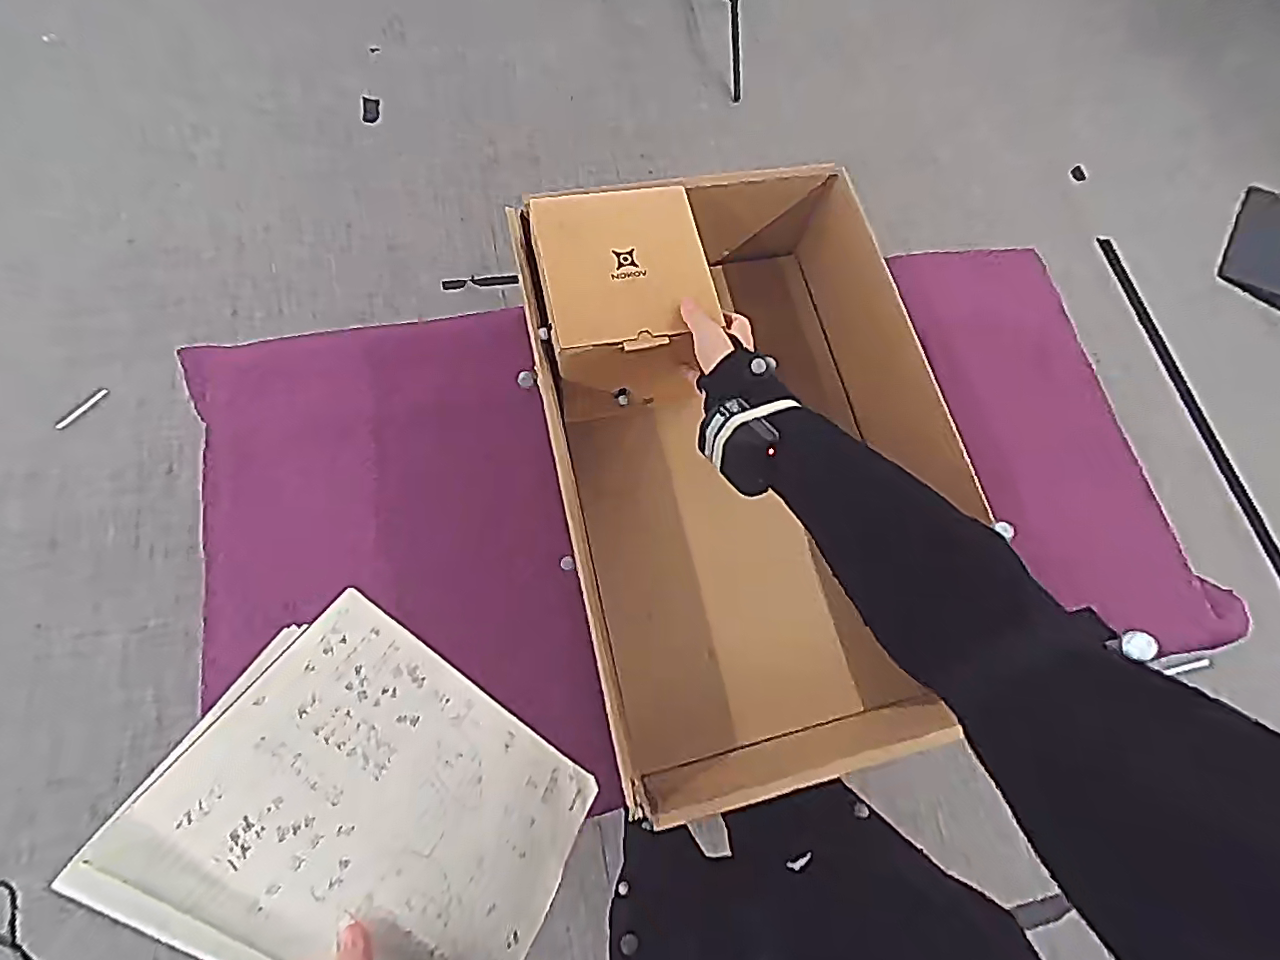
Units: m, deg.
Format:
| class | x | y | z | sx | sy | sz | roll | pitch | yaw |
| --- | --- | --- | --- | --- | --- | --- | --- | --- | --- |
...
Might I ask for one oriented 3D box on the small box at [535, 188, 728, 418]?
| class | x | y | z | sx | sy | sz | roll | pitch | yaw |
| --- | --- | --- | --- | --- | --- | --- | --- | --- | --- |
| small box | -0.021 | -0.190 | 0.607 | 0.168 | 0.176 | 0.179 | -11 | 76 | -10 |
